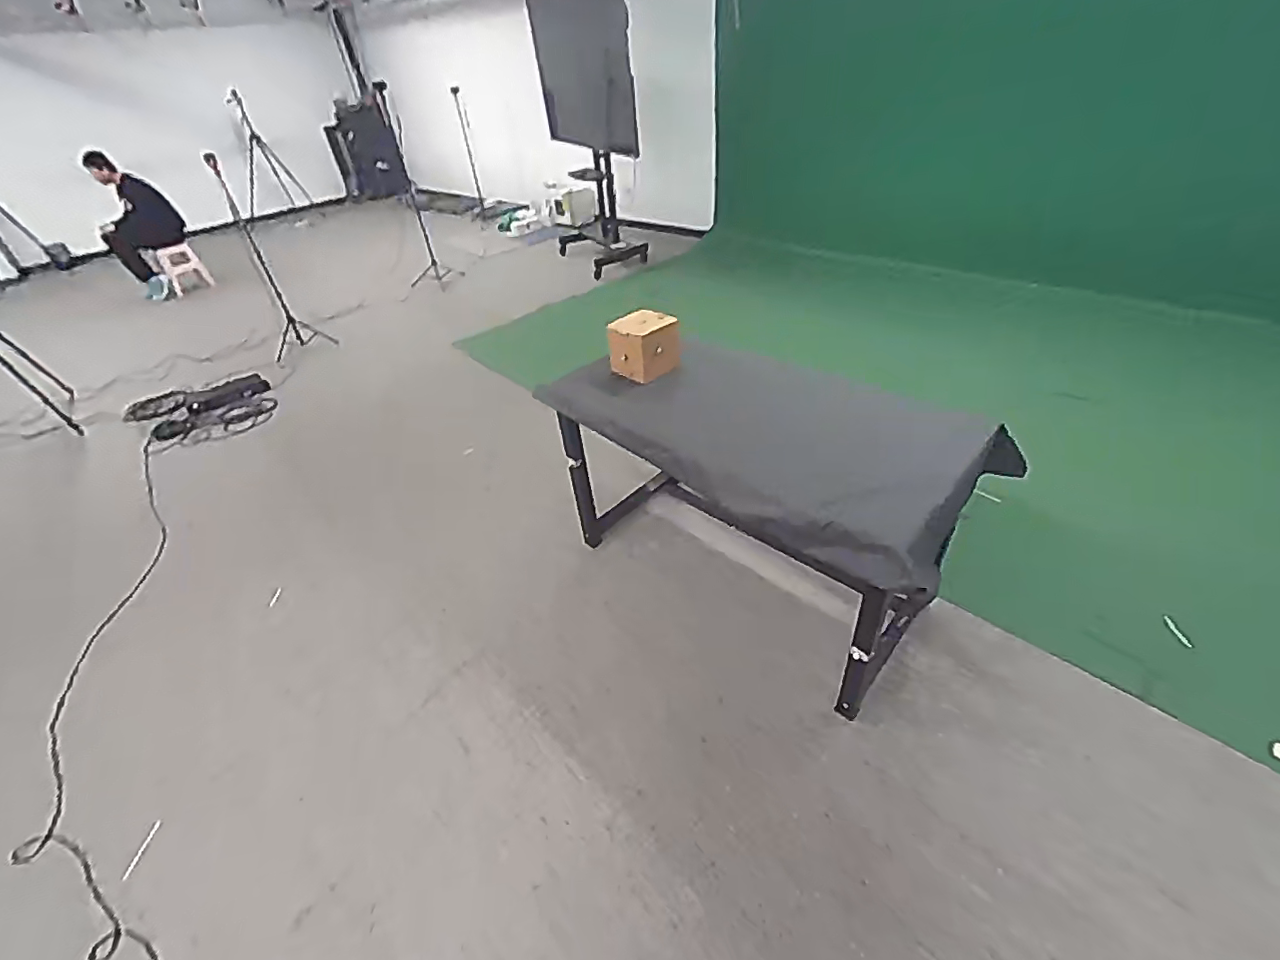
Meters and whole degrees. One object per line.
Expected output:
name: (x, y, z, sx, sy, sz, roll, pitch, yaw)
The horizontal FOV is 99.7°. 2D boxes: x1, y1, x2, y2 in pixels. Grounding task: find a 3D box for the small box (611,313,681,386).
small box: (0.029, -0.440, 1.823, 0.179, 0.176, 0.168, -34, 46, -30)
